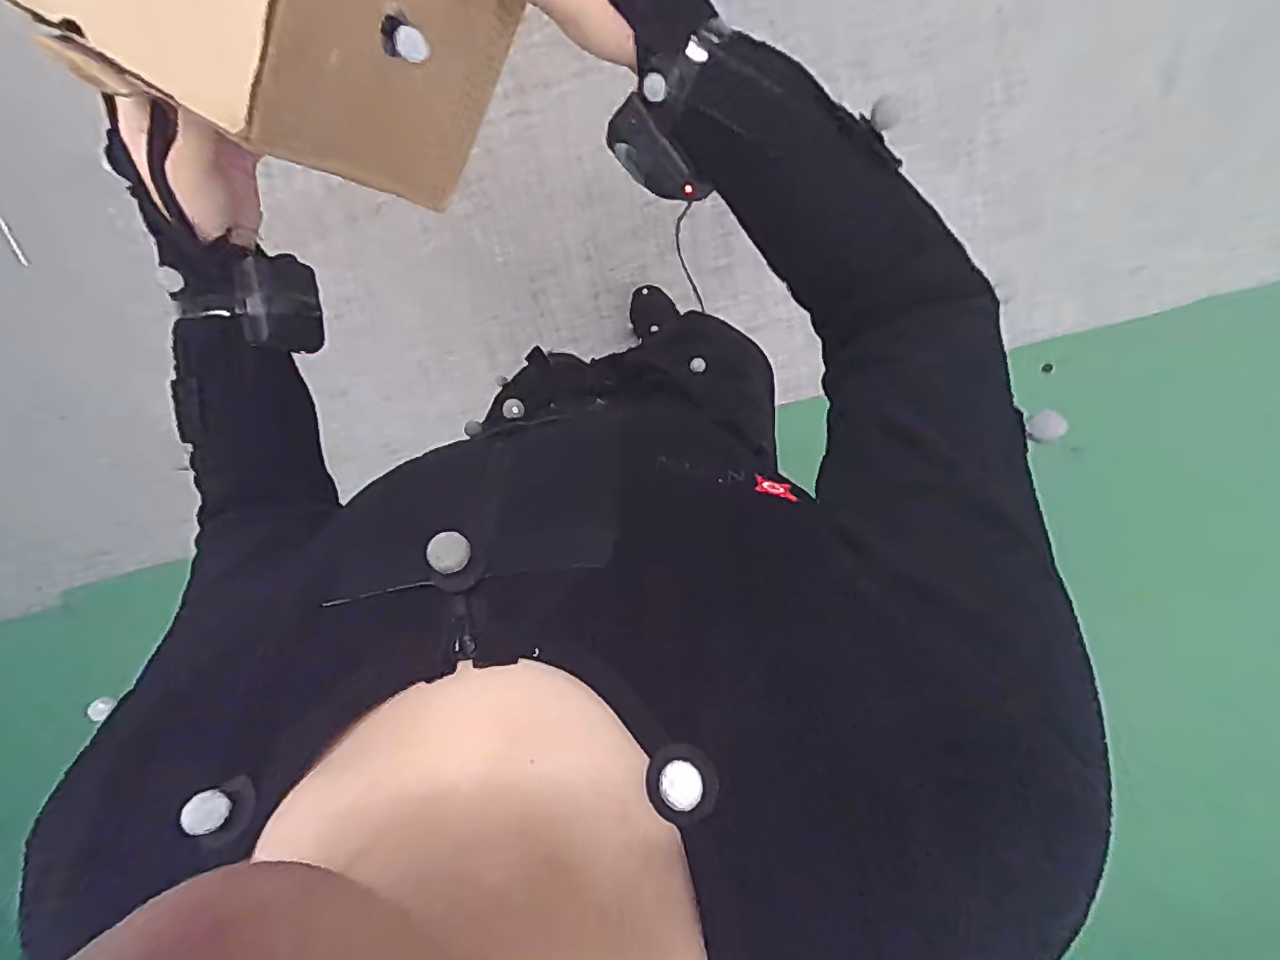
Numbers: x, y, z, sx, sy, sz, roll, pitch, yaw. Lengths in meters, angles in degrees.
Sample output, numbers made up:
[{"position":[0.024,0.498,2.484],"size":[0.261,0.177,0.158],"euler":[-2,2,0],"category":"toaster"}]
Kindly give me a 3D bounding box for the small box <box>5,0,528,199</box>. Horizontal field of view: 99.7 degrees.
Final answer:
[{"position":[-0.175,-0.275,0.276],"size":[0.168,0.176,0.179],"euler":[31,111,0],"category":"small box"}]
